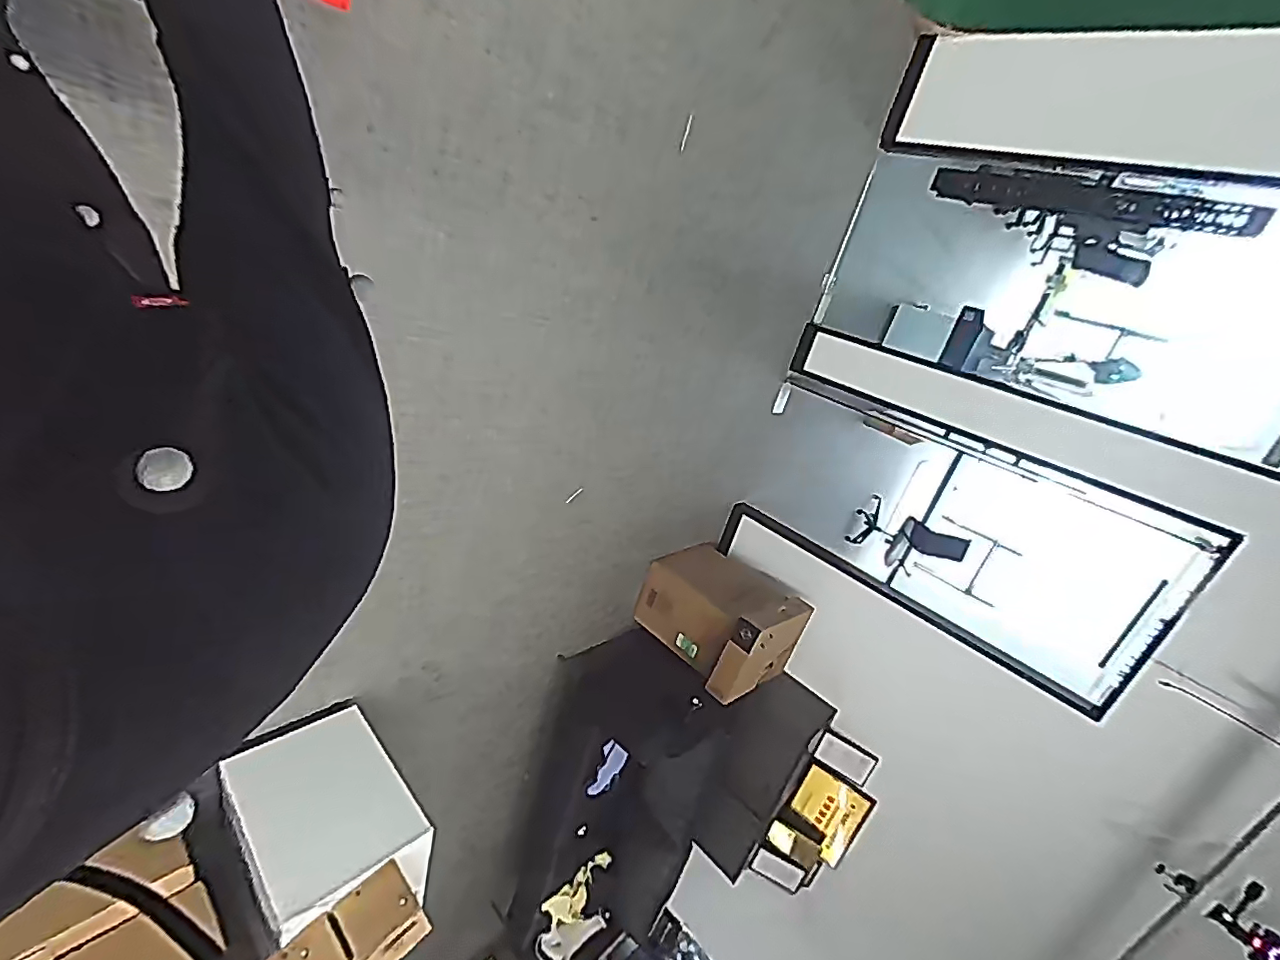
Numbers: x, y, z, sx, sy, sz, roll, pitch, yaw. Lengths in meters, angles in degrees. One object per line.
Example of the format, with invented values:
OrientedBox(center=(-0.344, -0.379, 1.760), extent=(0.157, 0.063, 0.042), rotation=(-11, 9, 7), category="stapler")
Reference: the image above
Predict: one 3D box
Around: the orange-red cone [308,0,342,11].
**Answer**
OrientedBox(center=(-0.533, -0.955, 0.905), extent=(0.199, 0.360, 0.198), rotation=(-6, 120, -48), category="orange-red cone")
